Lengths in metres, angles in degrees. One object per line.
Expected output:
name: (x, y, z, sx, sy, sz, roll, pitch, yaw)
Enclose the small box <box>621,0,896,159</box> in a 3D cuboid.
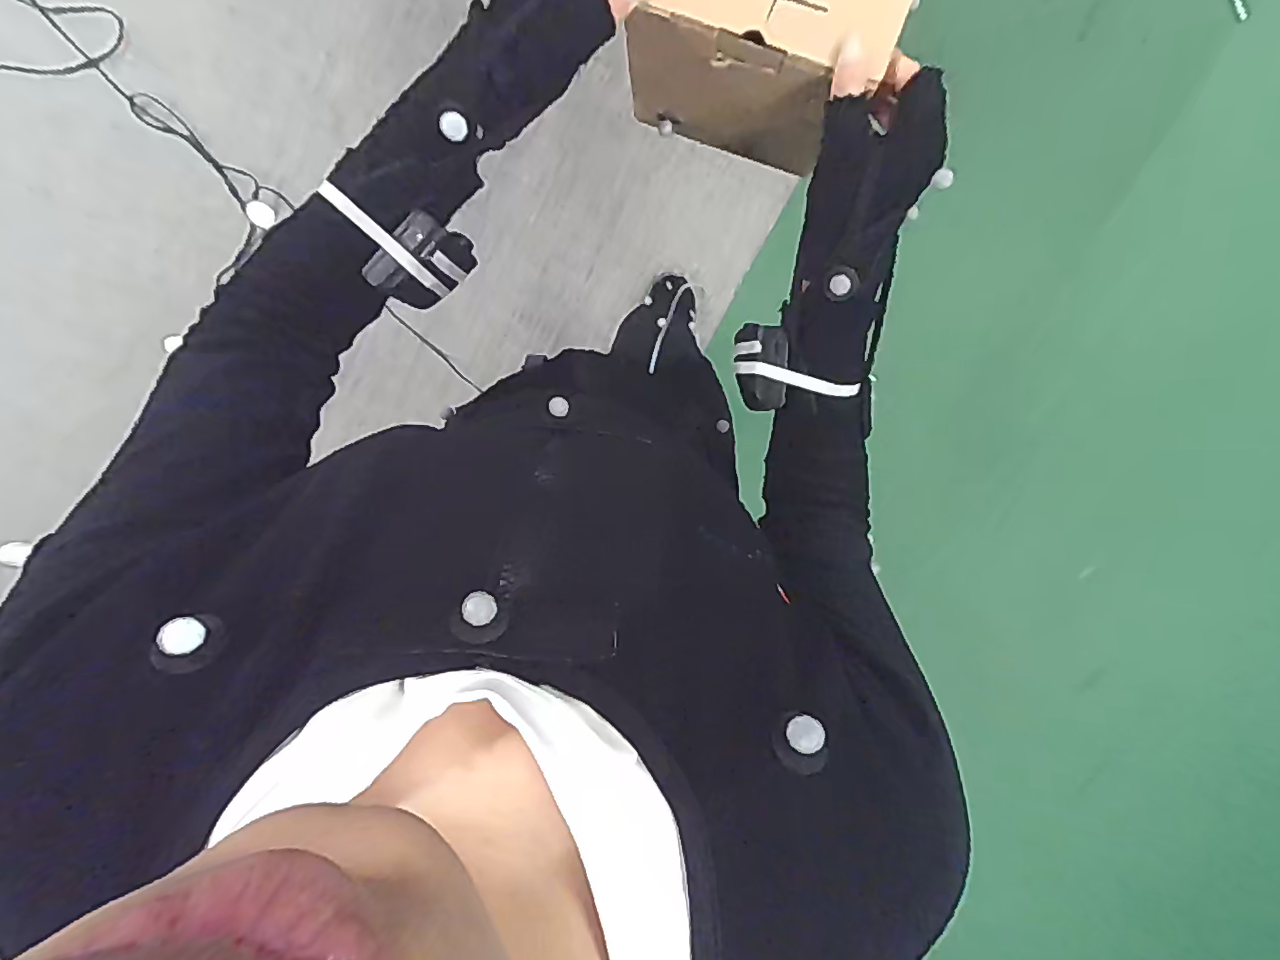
small box: (0.094, -0.368, 0.387, 0.168, 0.176, 0.179, 19, 101, -3)
